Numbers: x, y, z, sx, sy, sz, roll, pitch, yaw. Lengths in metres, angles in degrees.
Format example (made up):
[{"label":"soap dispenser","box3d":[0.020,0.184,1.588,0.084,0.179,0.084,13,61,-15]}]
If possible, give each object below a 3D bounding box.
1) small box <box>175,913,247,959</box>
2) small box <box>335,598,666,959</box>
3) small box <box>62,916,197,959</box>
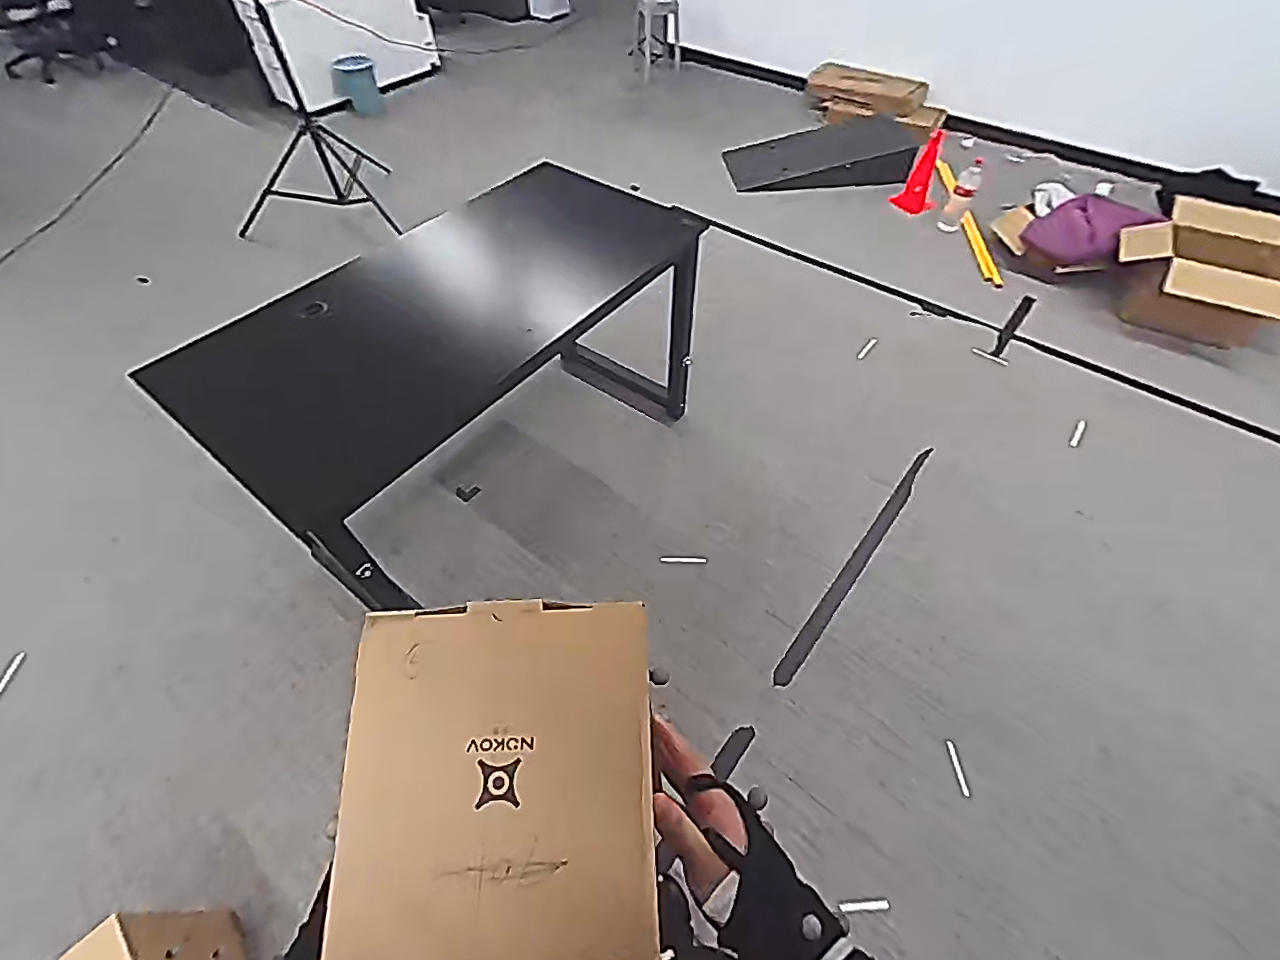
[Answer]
[{"label":"small box","box3d":[-0.881,0.967,1.022,0.168,0.176,0.179,-37,62,-24]},{"label":"small box","box3d":[-0.072,0.181,0.369,0.168,0.176,0.179,-2,72,-1]},{"label":"small box","box3d":[-0.870,0.865,0.893,0.168,0.176,0.179,37,62,26]}]
